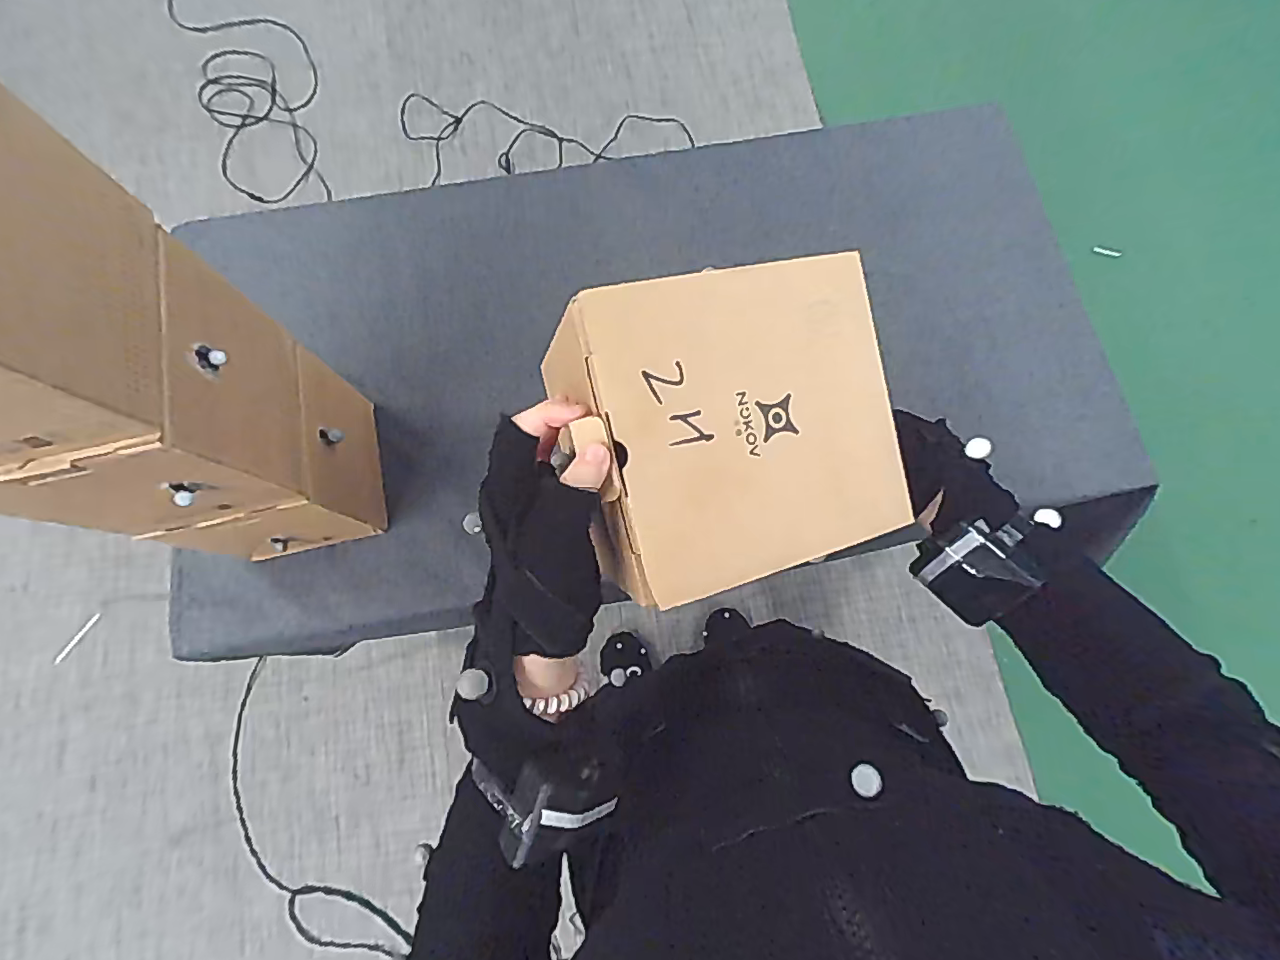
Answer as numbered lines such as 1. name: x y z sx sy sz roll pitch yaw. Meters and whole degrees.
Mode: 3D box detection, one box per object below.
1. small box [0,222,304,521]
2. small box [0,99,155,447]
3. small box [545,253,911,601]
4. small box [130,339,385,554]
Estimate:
1. small box: -0.406 -0.070 0.444 0.168 0.176 0.179 -12 76 -4
2. small box: -0.408 -0.118 0.287 0.168 0.176 0.179 -13 76 -5
3. small box: 0.043 -0.035 0.372 0.179 0.176 0.168 -14 93 -15
4. small box: -0.407 -0.027 0.601 0.168 0.176 0.179 -12 76 -3
